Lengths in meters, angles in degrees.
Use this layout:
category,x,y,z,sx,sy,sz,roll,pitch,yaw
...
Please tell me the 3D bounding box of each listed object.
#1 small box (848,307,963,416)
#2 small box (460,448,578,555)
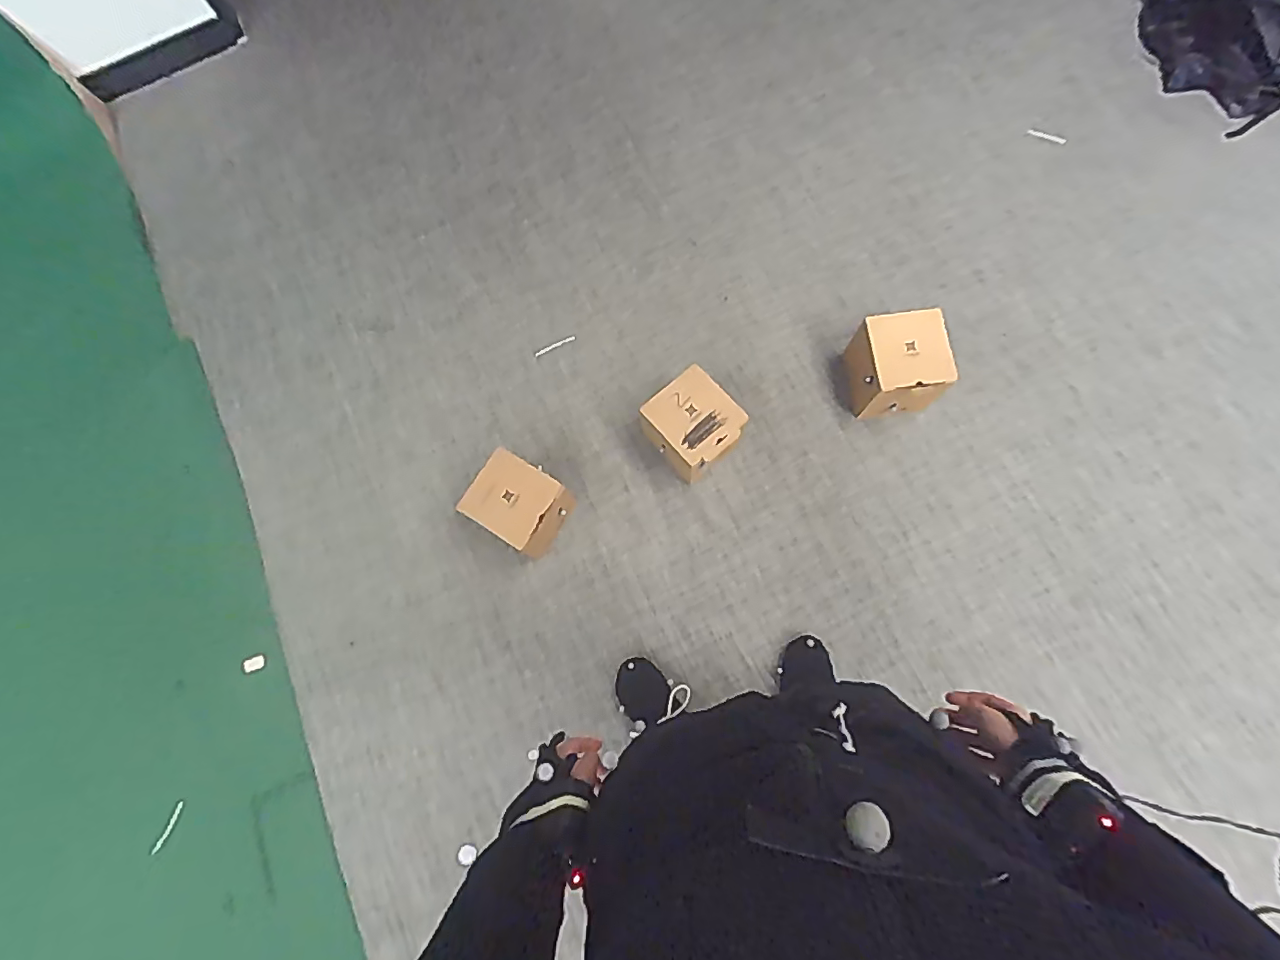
category,x,y,z,sx,sy,sz,roll,pitch,yaw
small box,0.589,-0.263,1.226,0.168,0.176,0.179,-7,77,2
small box,-0.261,0.056,1.216,0.179,0.176,0.168,30,79,12
